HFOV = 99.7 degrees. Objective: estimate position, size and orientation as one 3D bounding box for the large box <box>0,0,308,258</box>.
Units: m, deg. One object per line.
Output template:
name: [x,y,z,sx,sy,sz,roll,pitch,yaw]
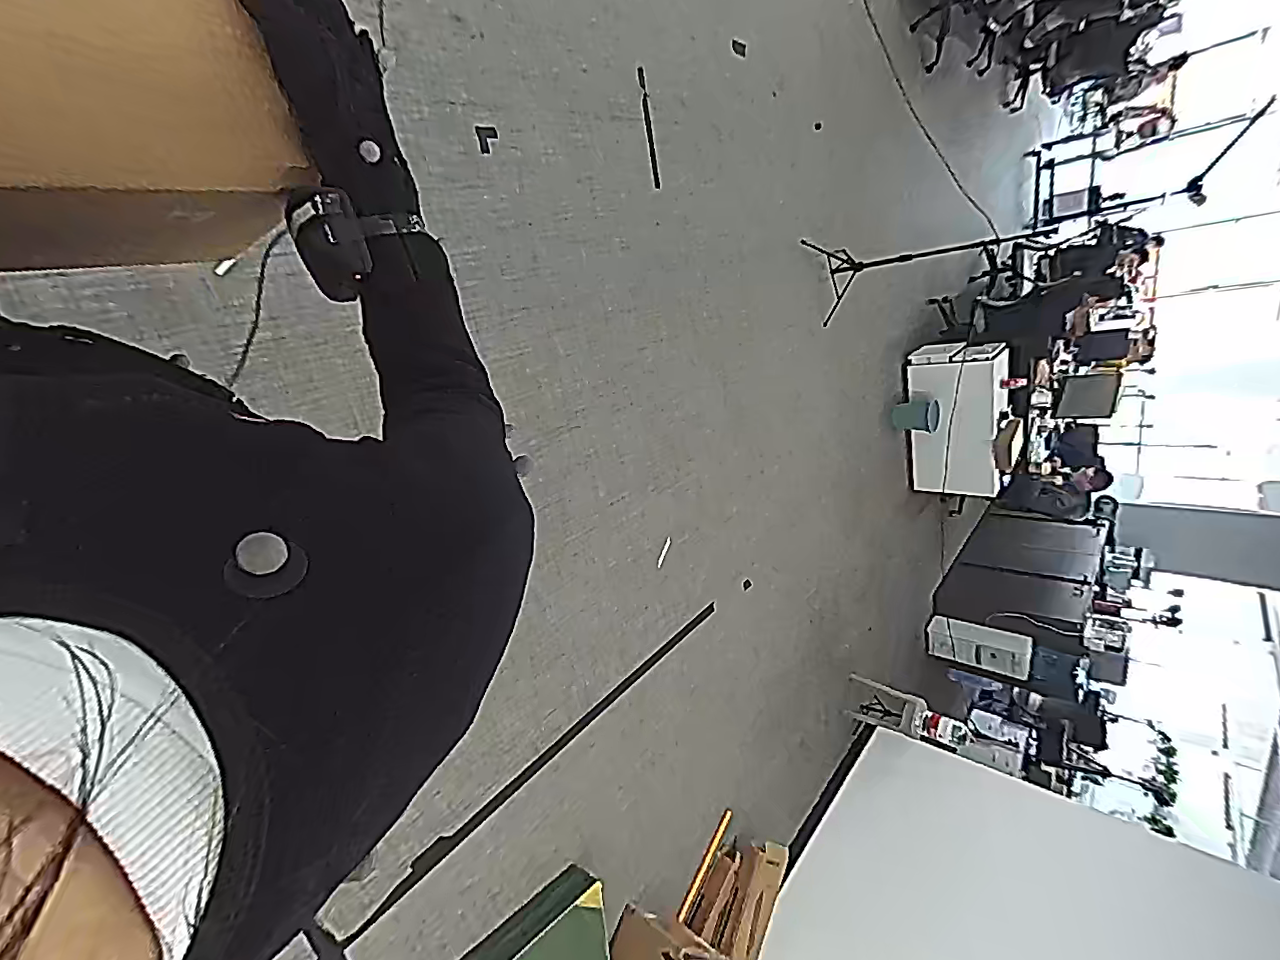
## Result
large box: [-0.502,-0.309,0.310,0.408,0.320,0.320,-27,117,-42]
